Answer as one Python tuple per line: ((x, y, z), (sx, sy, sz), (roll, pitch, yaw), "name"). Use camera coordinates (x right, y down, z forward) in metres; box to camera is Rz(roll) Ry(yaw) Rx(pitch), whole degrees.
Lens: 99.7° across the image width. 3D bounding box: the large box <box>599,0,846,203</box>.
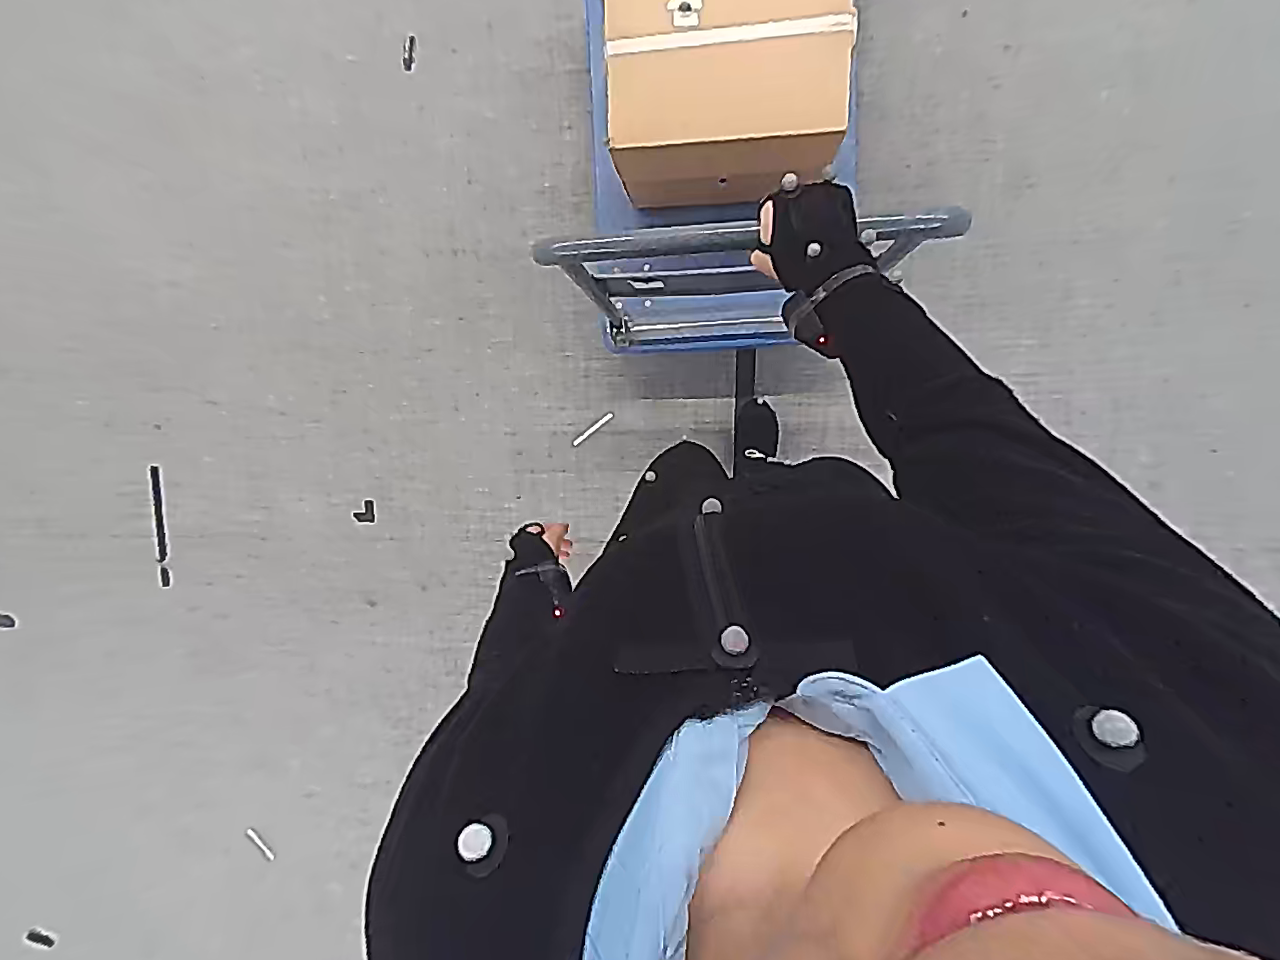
((0.153, -0.754, 1.028), (0.408, 0.320, 0.320), (0, 97, 9), "large box")
